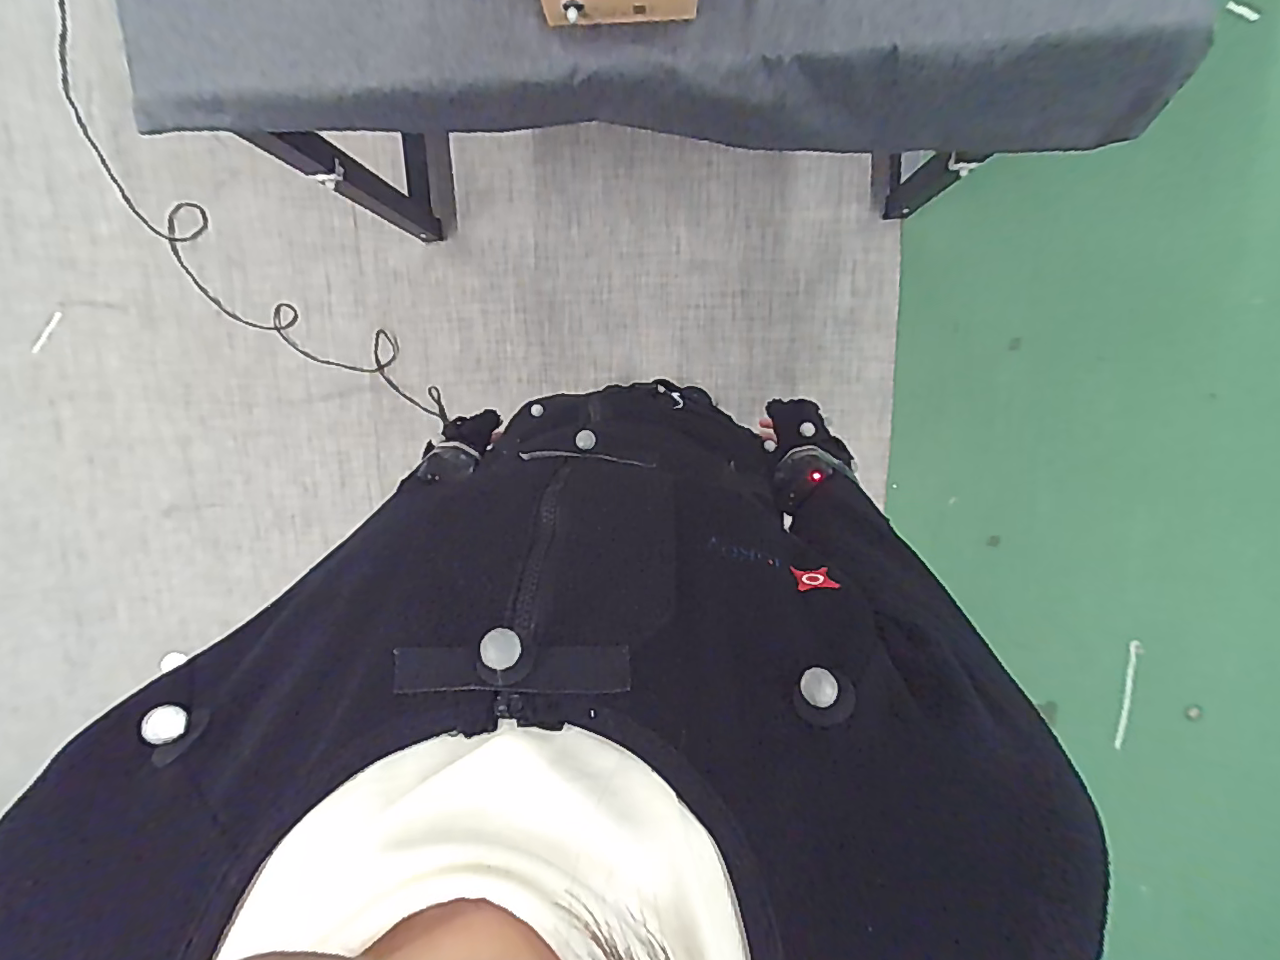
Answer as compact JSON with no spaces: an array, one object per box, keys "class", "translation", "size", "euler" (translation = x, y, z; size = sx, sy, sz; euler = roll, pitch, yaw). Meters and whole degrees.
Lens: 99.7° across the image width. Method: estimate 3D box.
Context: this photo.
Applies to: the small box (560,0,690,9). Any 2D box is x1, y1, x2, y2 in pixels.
[{"class":"small box","translation":[-0.025,-0.596,0.516],"size":[0.168,0.176,0.179],"euler":[0,98,3]}]
